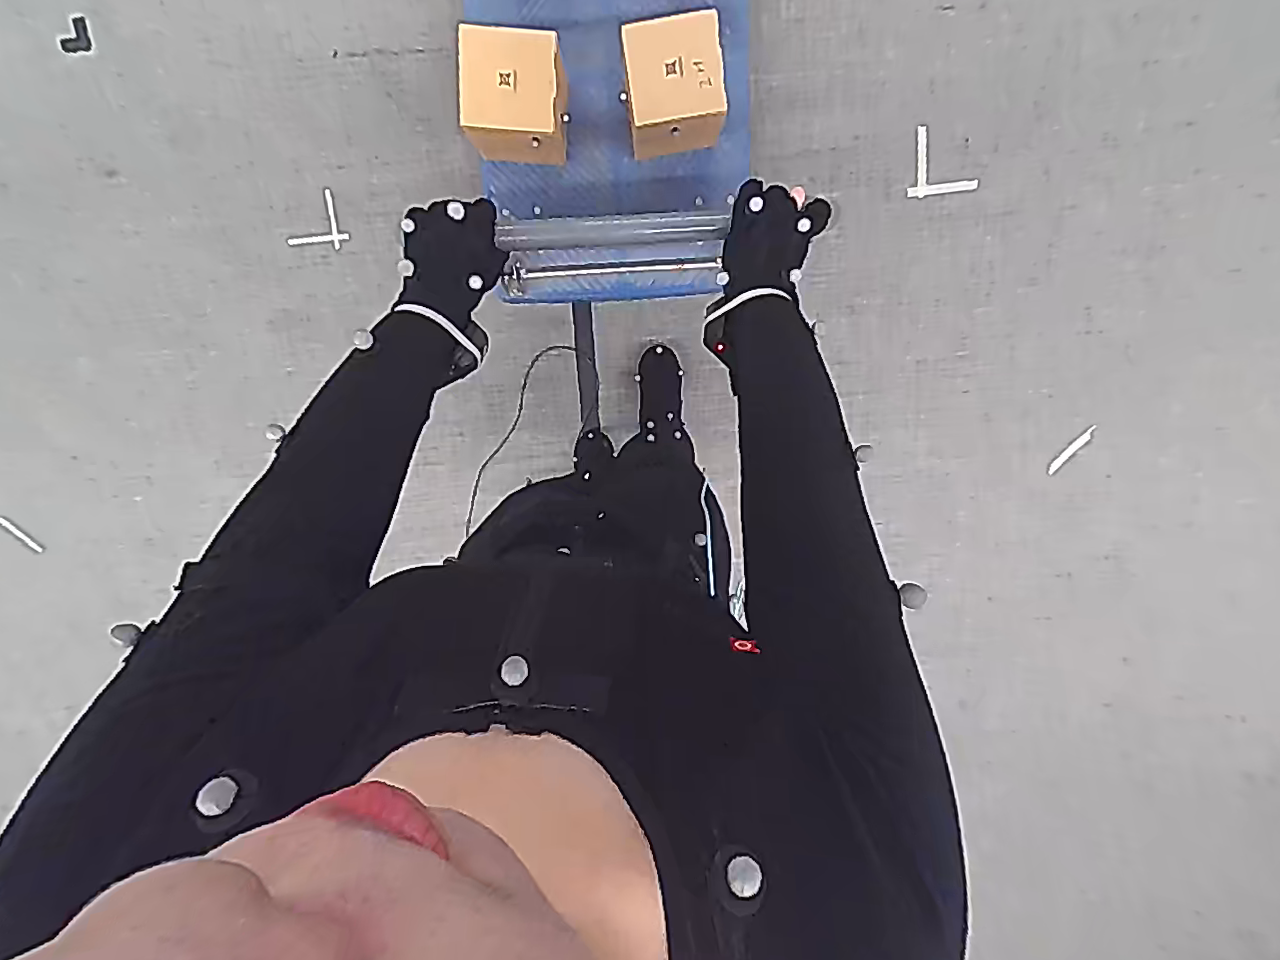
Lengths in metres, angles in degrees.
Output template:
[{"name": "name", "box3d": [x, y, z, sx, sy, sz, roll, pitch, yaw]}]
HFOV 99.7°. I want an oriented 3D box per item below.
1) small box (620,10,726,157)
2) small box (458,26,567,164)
[{"name": "small box", "box3d": [0.062, -0.753, 1.048, 0.179, 0.176, 0.168, -9, 103, 2]}, {"name": "small box", "box3d": [-0.241, -0.735, 1.050, 0.179, 0.176, 0.168, 2, 102, -2]}]
